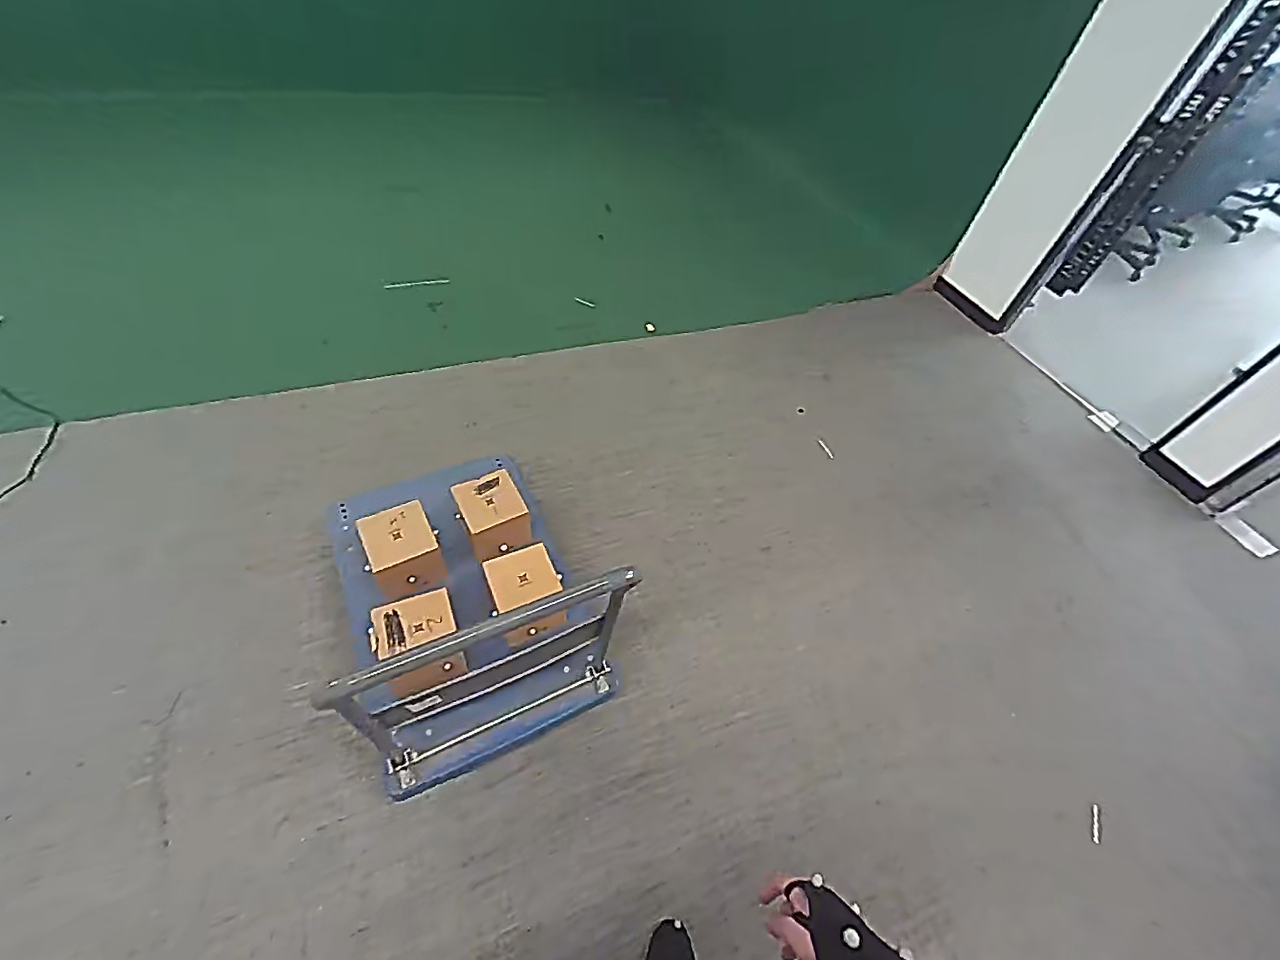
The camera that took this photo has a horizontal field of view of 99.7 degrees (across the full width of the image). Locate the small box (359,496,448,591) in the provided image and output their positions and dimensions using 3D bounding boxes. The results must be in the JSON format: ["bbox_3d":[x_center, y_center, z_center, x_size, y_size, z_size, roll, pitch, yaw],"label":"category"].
[{"bbox_3d":[-0.636,0.179,1.470,0.168,0.176,0.179,-21,58,-24],"label":"small box"}]

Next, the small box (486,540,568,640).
[{"bbox_3d":[-0.301,0.294,1.435,0.168,0.176,0.179,-17,57,-21],"label":"small box"}]

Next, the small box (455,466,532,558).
[{"bbox_3d":[-0.422,0.093,1.570,0.168,0.176,0.179,-22,60,-22],"label":"small box"}]
